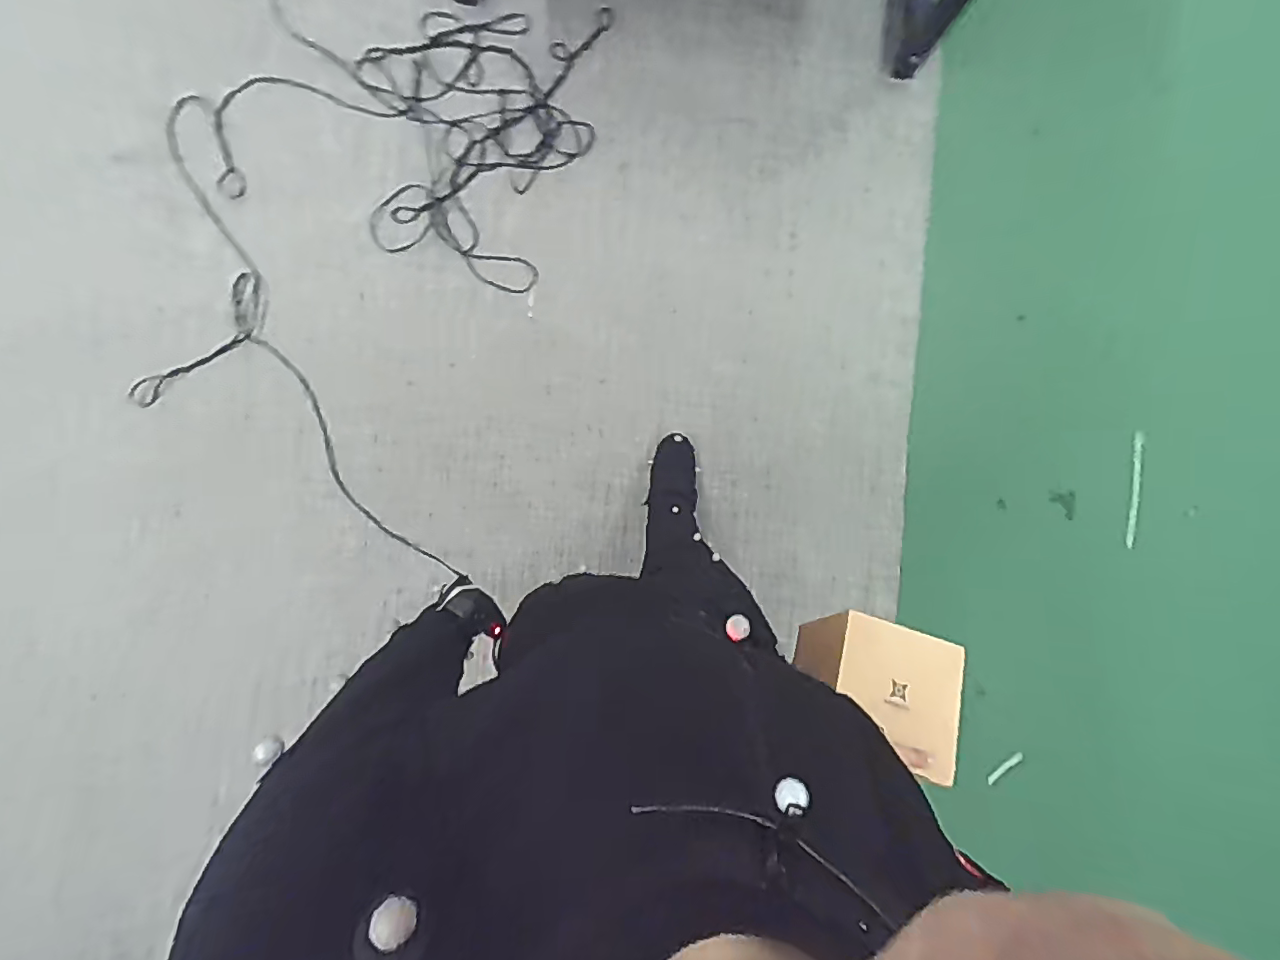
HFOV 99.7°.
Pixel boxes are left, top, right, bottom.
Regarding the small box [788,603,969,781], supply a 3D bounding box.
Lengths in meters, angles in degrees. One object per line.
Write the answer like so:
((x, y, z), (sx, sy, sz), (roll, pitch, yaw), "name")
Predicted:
((0.325, 0.292, 0.761), (0.168, 0.176, 0.179), (19, 69, 0), "small box")
